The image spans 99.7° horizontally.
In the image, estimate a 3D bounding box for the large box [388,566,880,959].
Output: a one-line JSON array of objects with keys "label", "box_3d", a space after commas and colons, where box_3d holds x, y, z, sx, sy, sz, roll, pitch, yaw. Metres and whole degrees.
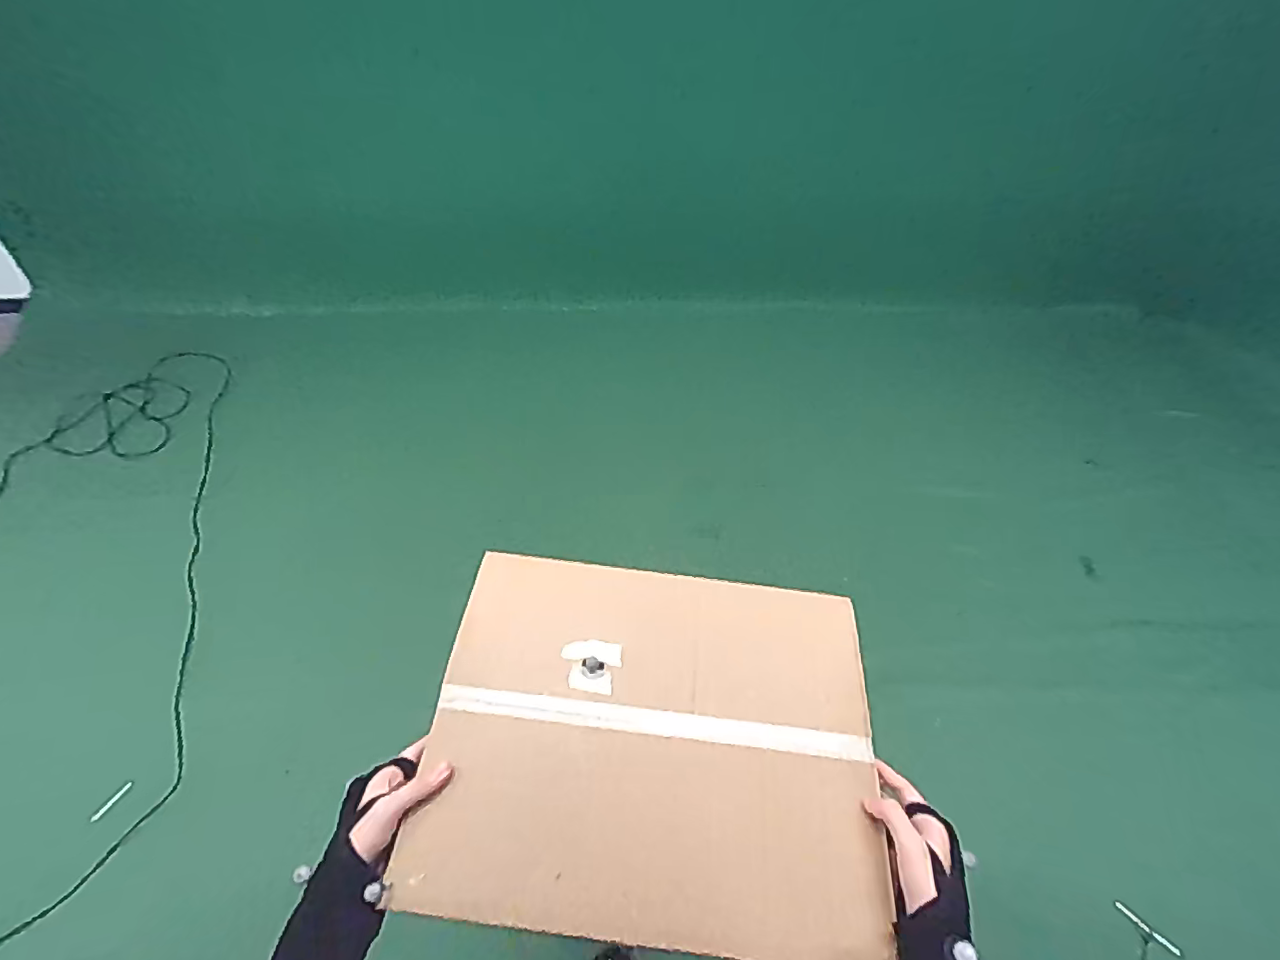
[{"label": "large box", "box_3d": [0.003, 0.325, 0.637, 0.408, 0.320, 0.320, 7, 53, 2]}]
